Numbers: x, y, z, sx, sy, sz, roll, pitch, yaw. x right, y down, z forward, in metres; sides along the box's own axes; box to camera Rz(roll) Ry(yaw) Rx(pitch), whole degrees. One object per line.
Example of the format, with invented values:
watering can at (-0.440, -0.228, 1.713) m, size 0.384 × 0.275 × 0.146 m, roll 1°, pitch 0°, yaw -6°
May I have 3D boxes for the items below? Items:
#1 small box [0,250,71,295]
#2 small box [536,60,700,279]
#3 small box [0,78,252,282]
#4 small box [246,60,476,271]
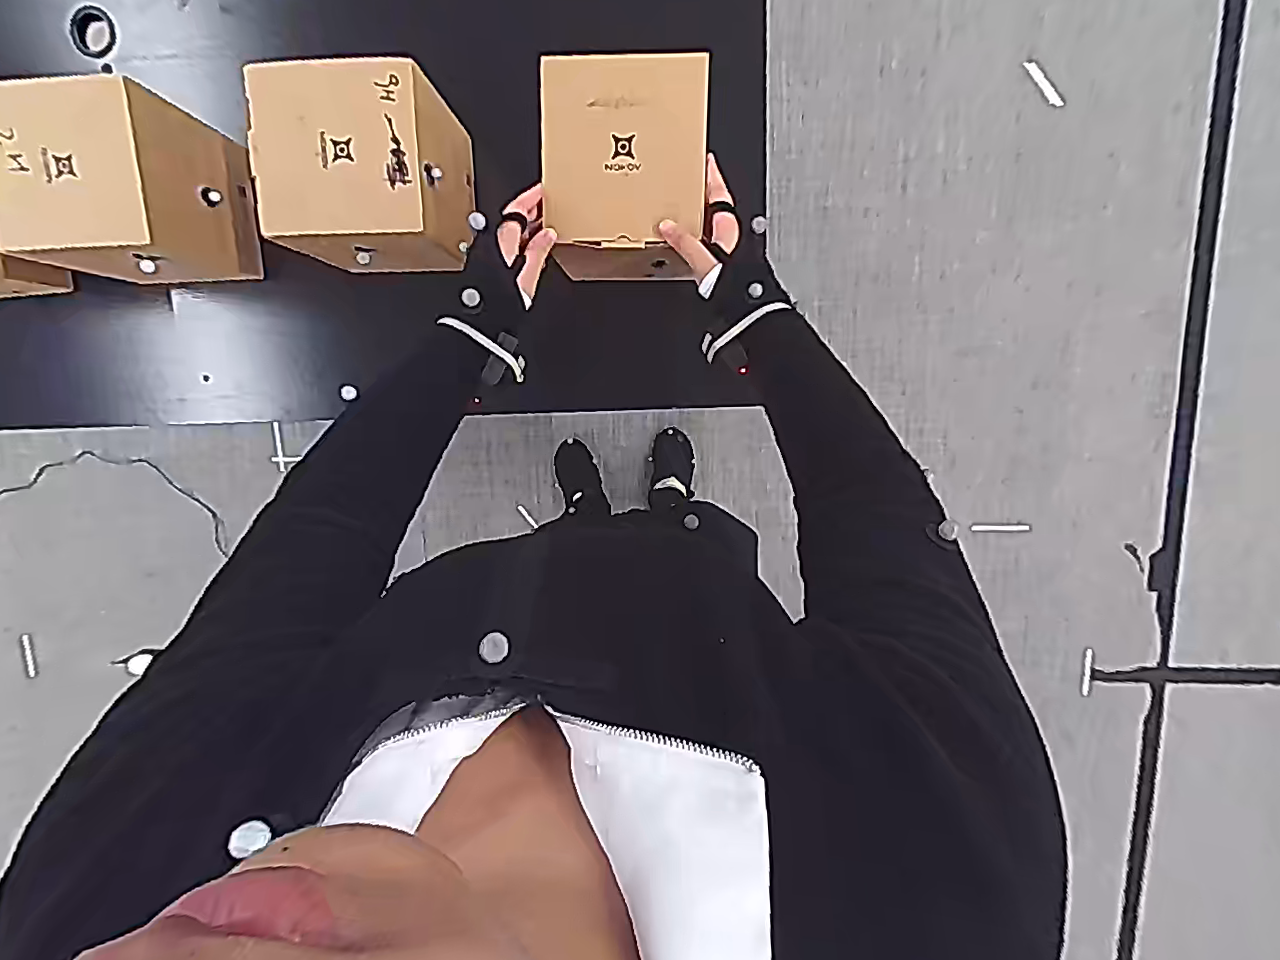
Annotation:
small box at (-0.868, -0.331, 0.657) m, size 0.168 × 0.176 × 0.179 m, roll -3°, pitch 99°, yaw 3°
small box at (-0.019, -0.337, 0.622) m, size 0.168 × 0.176 × 0.179 m, roll 1°, pitch 97°, yaw 2°
small box at (-0.602, -0.339, 0.644) m, size 0.179 × 0.176 × 0.168 m, roll -2°, pitch 98°, yaw 2°
small box at (-0.308, -0.348, 0.632) m, size 0.179 × 0.176 × 0.168 m, roll 0°, pitch 99°, yaw 3°
